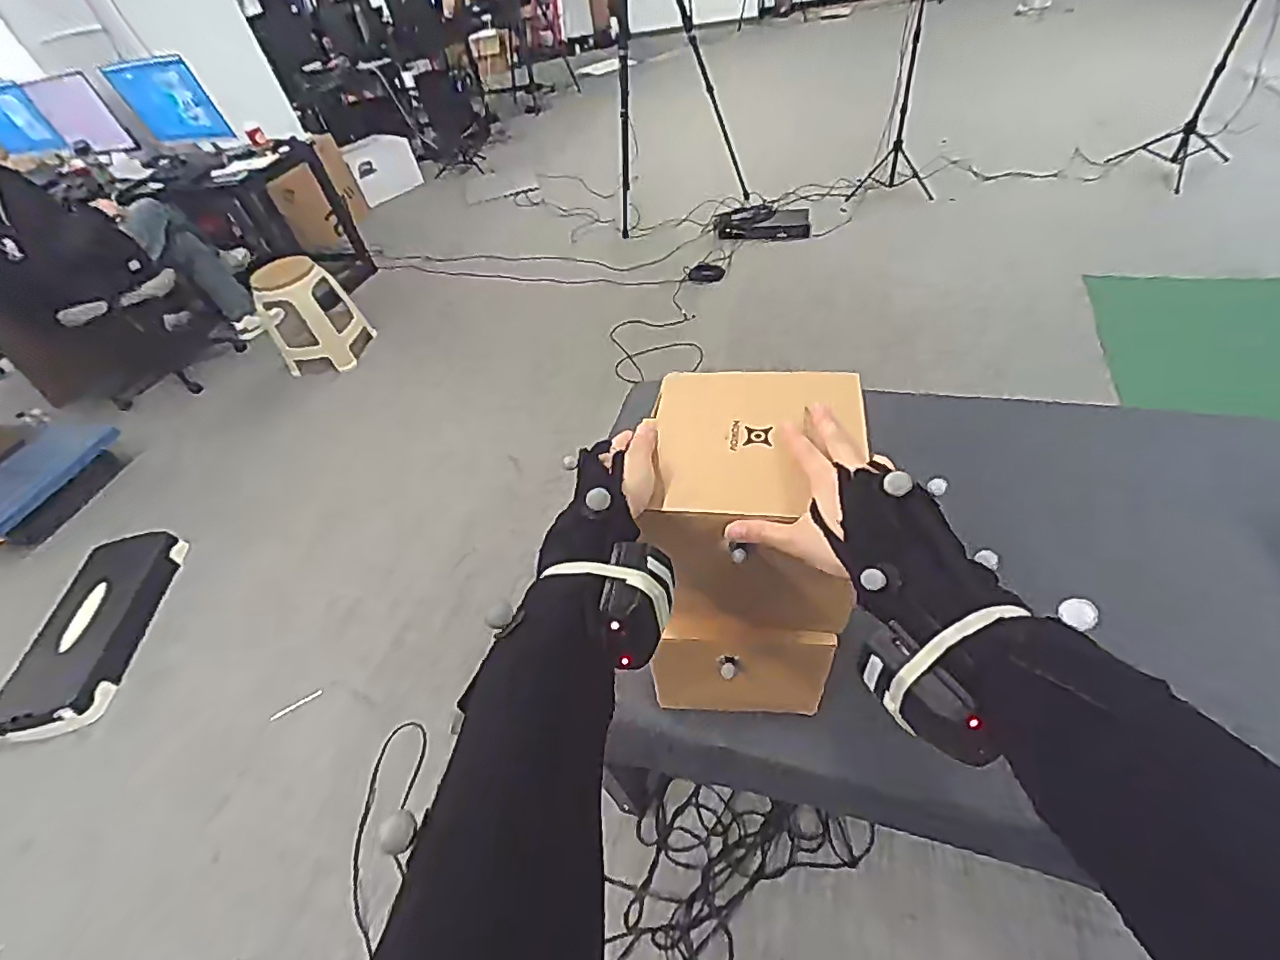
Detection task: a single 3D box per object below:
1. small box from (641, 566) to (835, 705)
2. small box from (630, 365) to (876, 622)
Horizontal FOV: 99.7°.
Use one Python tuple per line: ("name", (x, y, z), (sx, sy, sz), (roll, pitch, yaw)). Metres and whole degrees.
("small box", (0.106, 0.136, 0.599), (0.179, 0.176, 0.168), (-1, 48, 10))
("small box", (0.101, 0.013, 0.493), (0.179, 0.176, 0.168), (3, 50, 12))
